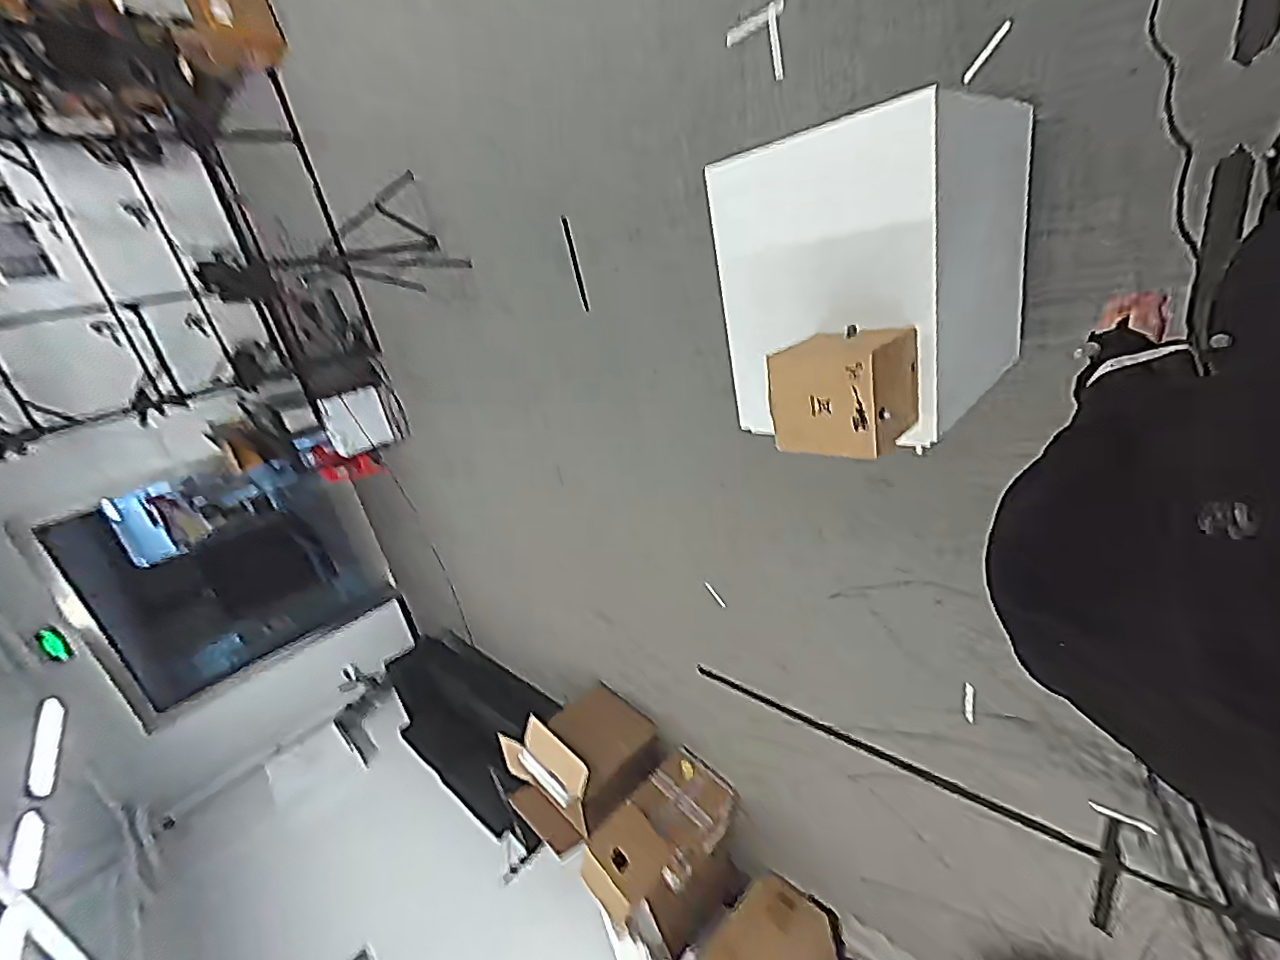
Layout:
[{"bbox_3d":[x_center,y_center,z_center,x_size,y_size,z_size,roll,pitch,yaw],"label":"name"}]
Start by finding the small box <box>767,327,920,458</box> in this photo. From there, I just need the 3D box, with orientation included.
[{"bbox_3d":[0.335,-0.148,0.887,0.179,0.176,0.168,10,120,46],"label":"small box"}]
